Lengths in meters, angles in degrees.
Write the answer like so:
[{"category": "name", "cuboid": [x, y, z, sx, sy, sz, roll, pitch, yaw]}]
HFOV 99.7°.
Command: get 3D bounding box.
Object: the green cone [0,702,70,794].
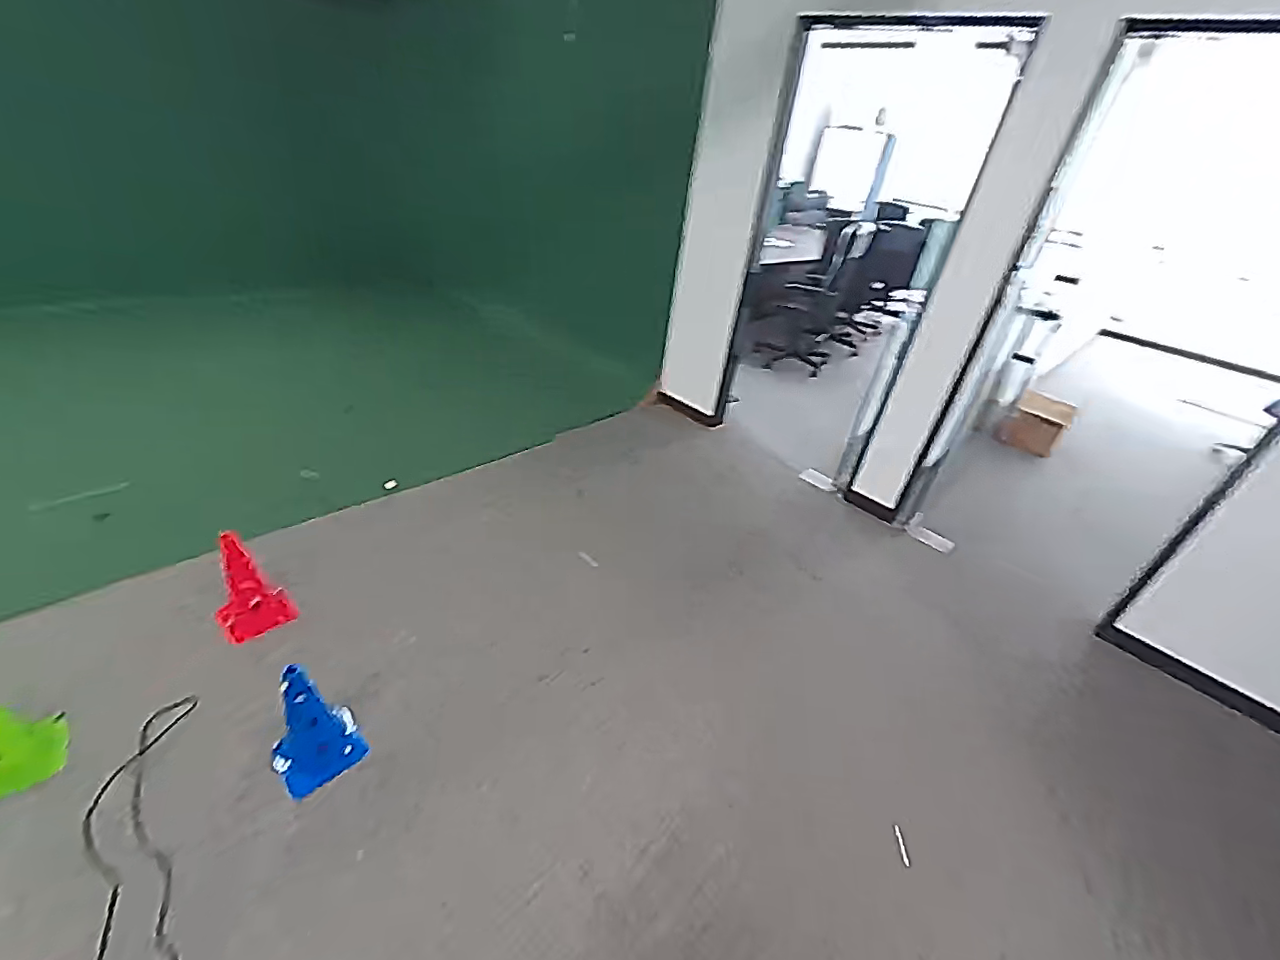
[{"category": "green cone", "cuboid": [-1.586, 0.568, 1.293, 0.200, 0.368, 0.202, -22, 45, -37]}]
